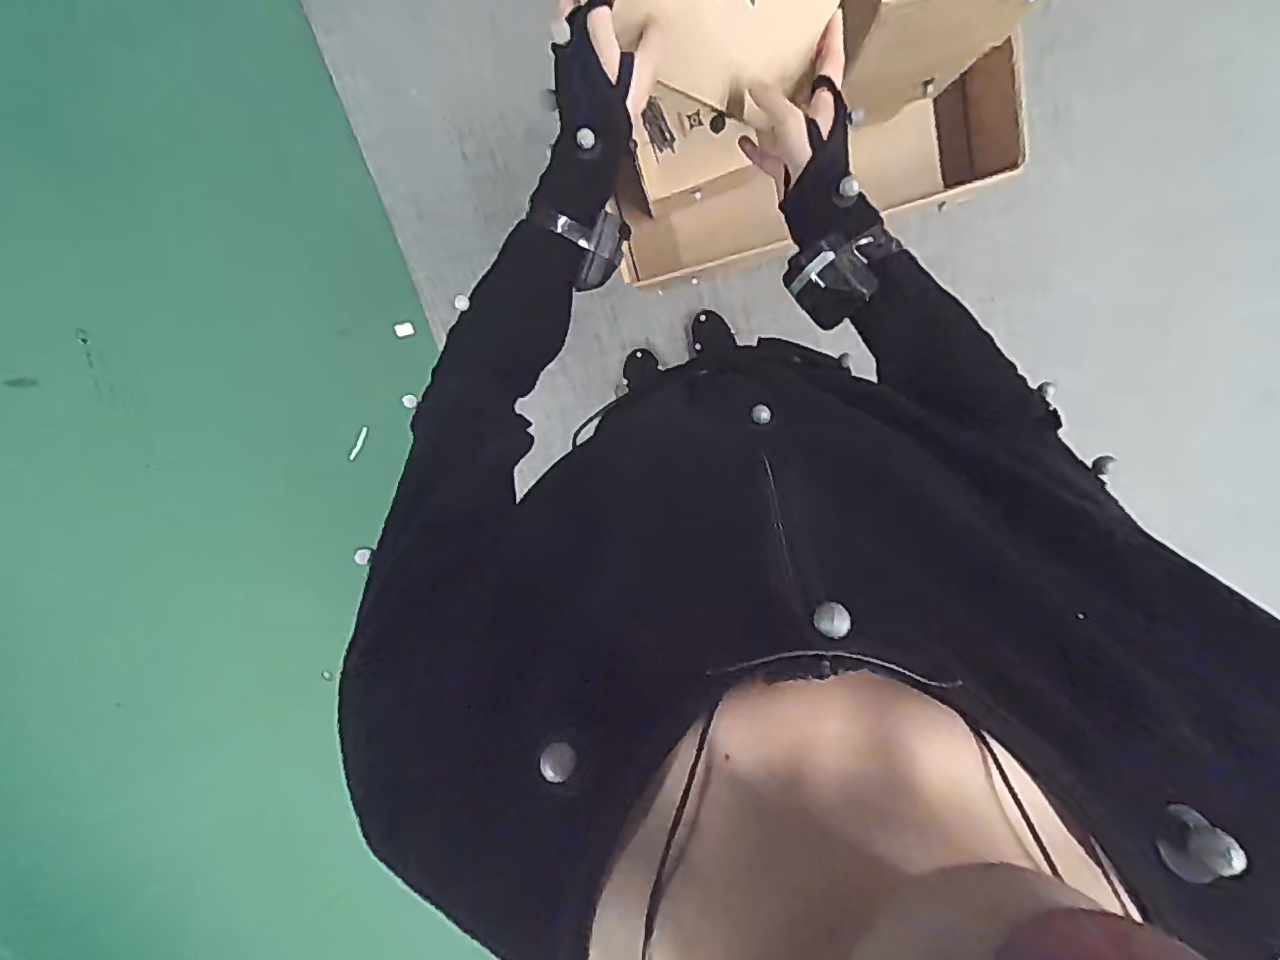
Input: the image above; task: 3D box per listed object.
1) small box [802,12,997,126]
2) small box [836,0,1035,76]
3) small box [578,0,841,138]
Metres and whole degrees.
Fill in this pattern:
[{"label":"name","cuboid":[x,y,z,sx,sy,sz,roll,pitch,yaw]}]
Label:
[{"label":"small box","cuboid":[0.295,-0.559,0.650,0.179,0.176,0.168,-9,107,10]},{"label":"small box","cuboid":[0.281,-0.511,0.496,0.179,0.176,0.168,-8,106,9]},{"label":"small box","cuboid":[0.057,-0.429,0.463,0.179,0.176,0.168,9,127,-21]}]
